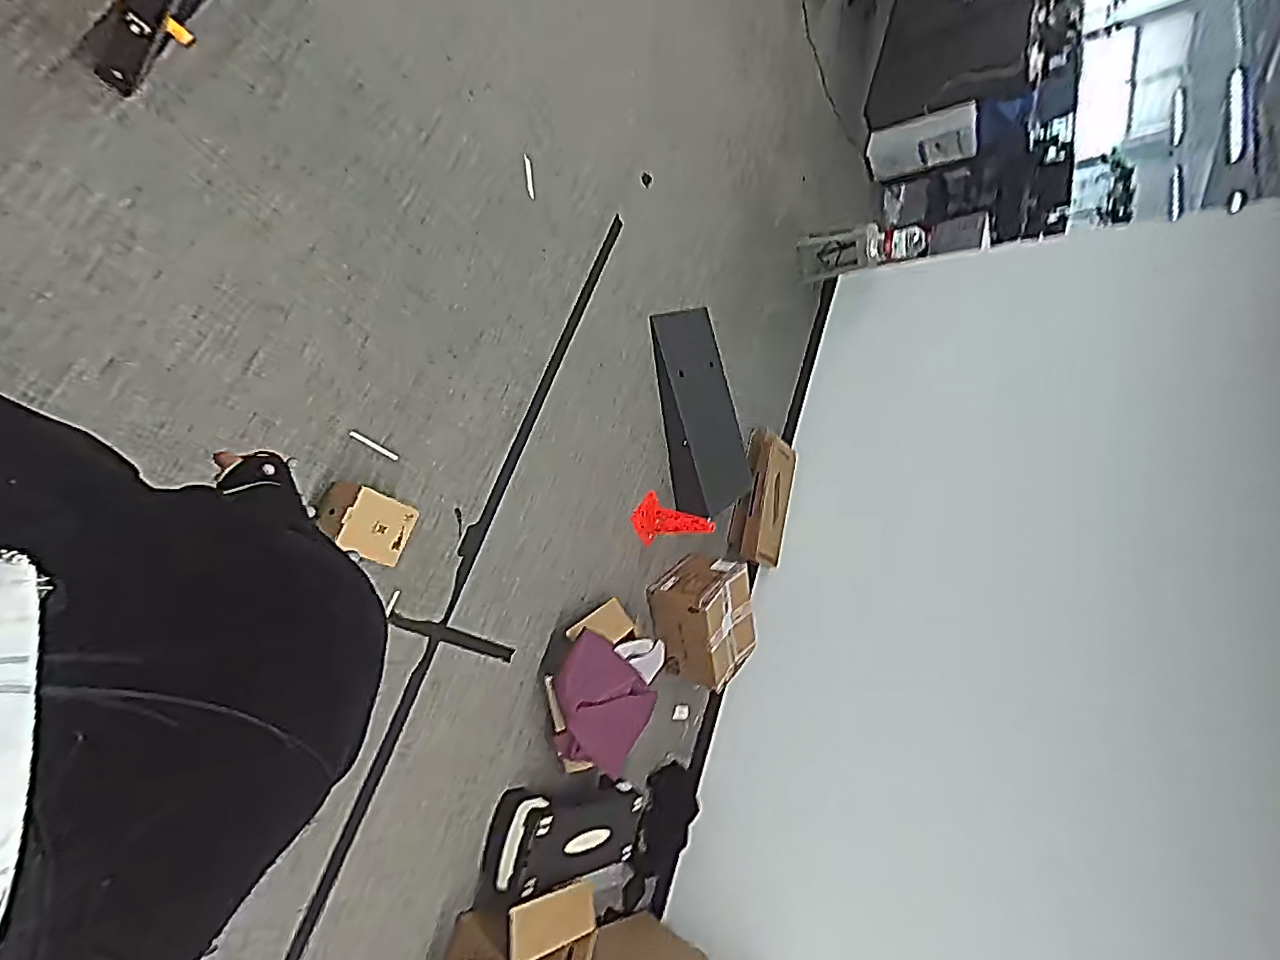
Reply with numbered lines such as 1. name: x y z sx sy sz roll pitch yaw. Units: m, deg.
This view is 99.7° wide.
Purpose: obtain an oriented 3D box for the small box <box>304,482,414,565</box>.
1. small box: -0.749 0.112 1.438 0.179 0.176 0.168 39 64 -46
